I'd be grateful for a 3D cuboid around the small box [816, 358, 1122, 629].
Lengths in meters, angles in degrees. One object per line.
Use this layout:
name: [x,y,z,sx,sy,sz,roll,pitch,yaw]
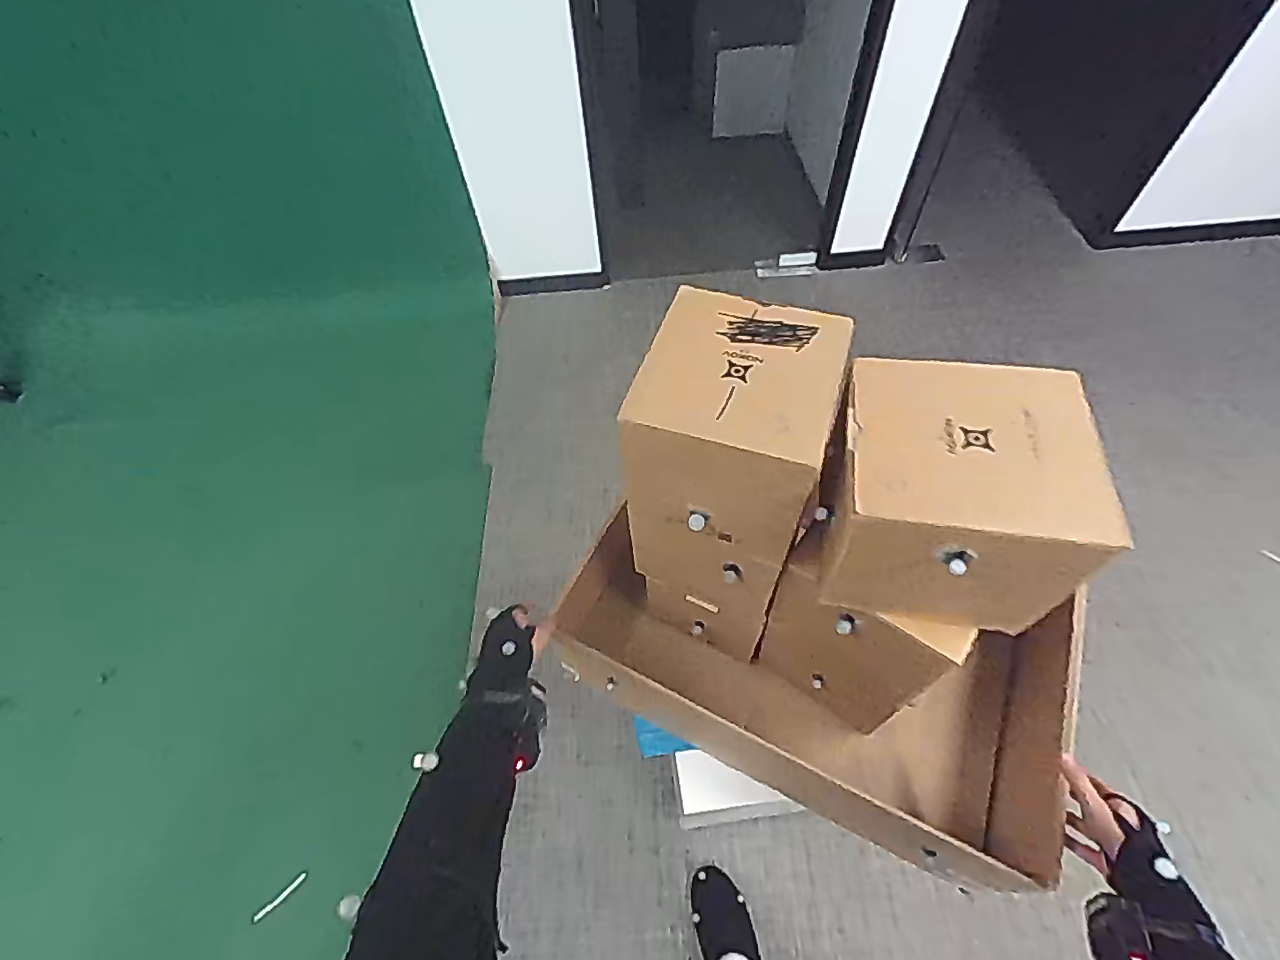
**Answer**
small box: [0.257,0.015,0.476,0.179,0.176,0.168,7,56,13]
